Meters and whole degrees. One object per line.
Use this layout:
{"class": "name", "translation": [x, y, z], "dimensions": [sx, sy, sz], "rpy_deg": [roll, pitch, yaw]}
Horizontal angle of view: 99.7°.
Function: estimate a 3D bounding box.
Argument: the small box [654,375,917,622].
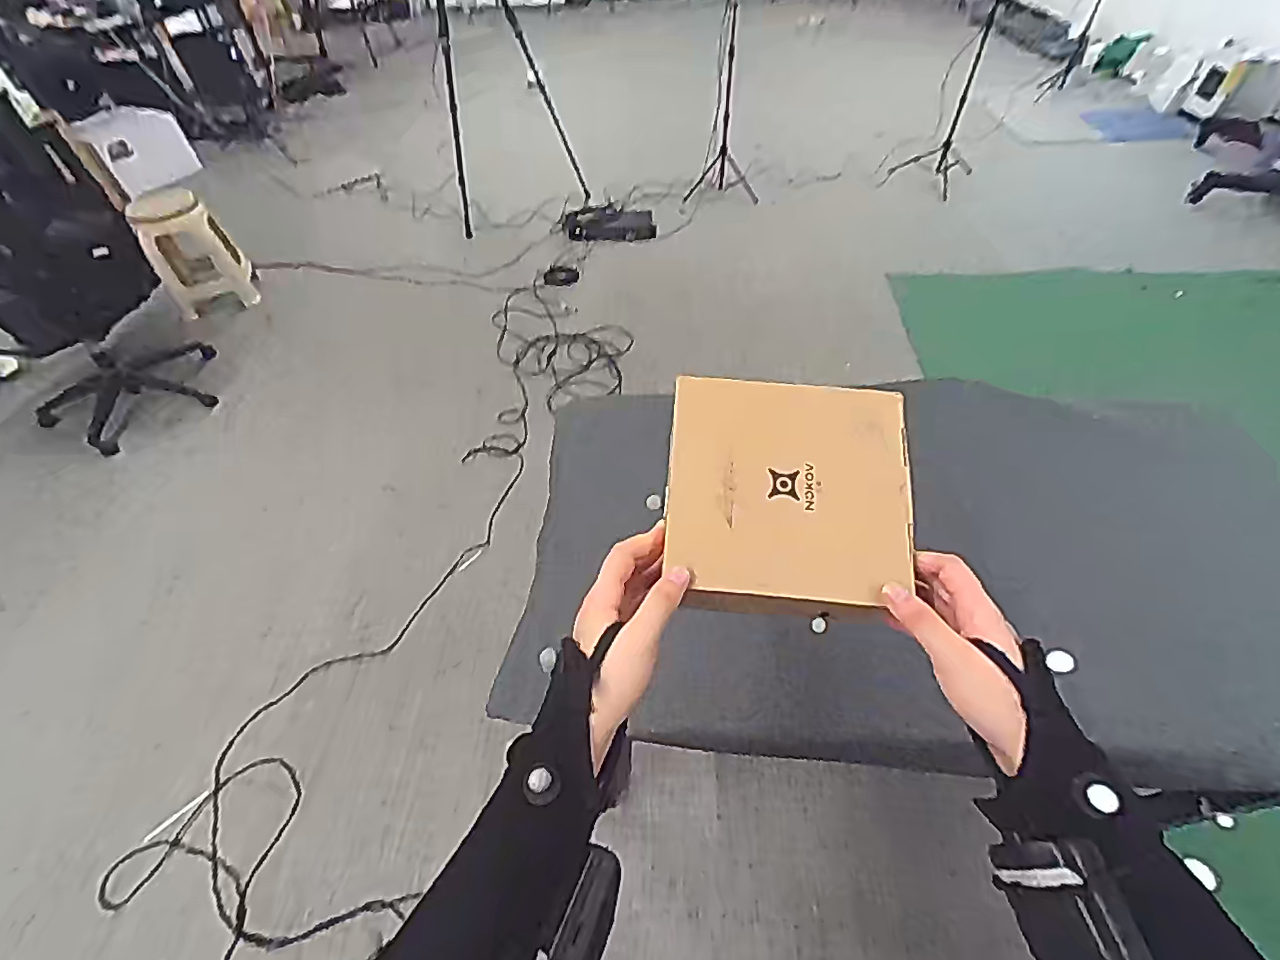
{"class": "small box", "translation": [0.105, 0.028, 0.458], "dimensions": [0.179, 0.176, 0.168], "rpy_deg": [3, 72, 4]}
